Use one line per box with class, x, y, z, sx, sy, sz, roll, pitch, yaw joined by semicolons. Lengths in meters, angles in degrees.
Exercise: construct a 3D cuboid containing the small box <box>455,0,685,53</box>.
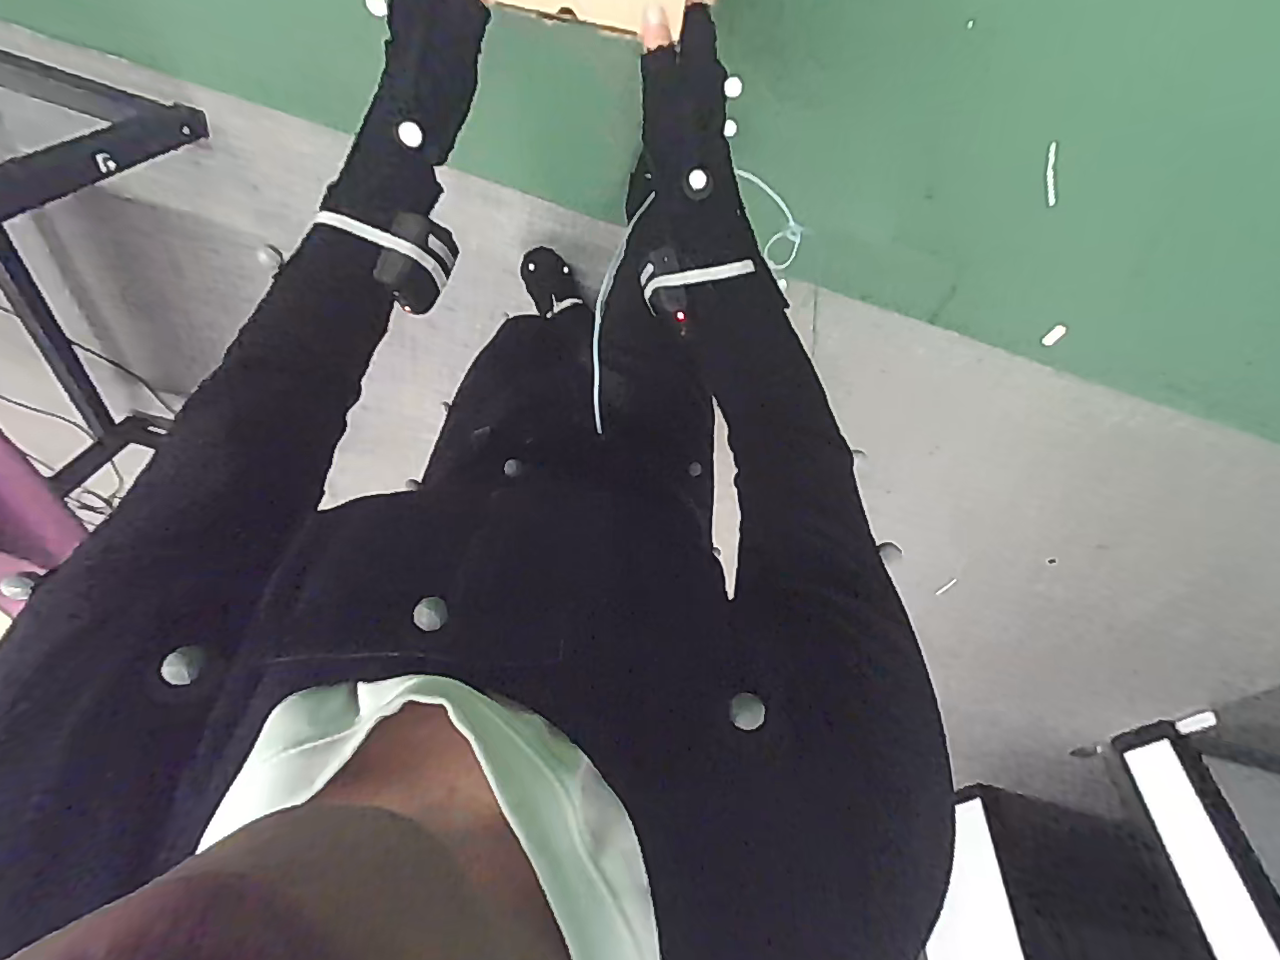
small box;-0.034;-0.439;0.381;0.168;0.176;0.179;8;135;-5
